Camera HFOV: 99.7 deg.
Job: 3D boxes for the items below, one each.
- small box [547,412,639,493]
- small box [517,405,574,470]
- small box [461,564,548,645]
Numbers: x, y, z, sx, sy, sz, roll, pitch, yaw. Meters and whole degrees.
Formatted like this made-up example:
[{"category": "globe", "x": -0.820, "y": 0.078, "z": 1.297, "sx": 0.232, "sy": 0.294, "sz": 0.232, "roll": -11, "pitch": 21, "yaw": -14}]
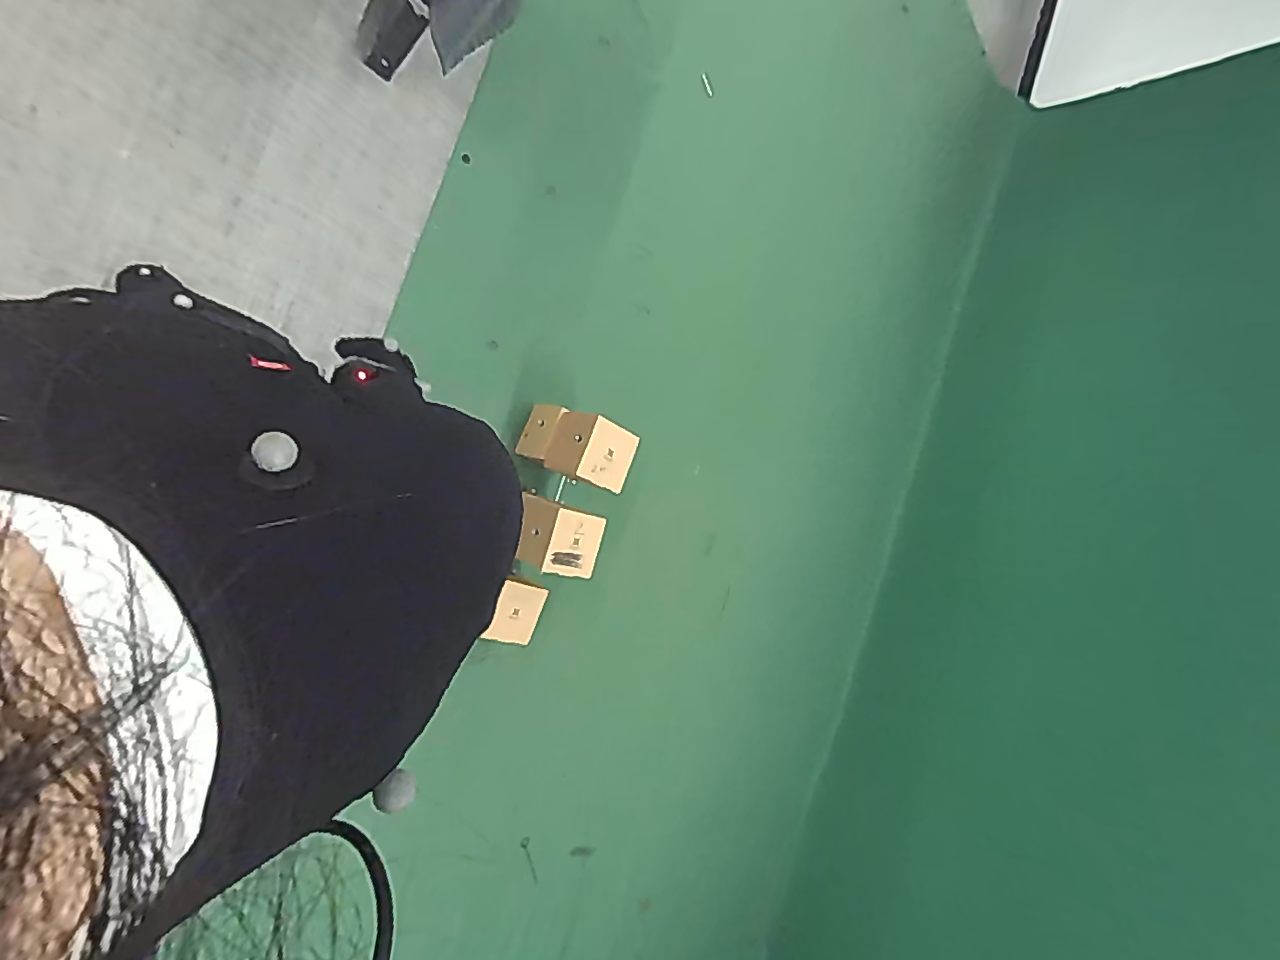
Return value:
[{"category": "small box", "x": -0.138, "y": -0.082, "z": 1.536, "sx": 0.168, "sy": 0.176, "sz": 0.179, "roll": 27, "pitch": 81, "yaw": -41}, {"category": "small box", "x": -0.248, "y": -0.119, "z": 1.654, "sx": 0.179, "sy": 0.176, "sz": 0.168, "roll": 28, "pitch": 80, "yaw": -41}, {"category": "small box", "x": -0.411, "y": 0.370, "z": 1.617, "sx": 0.168, "sy": 0.176, "sz": 0.179, "roll": 27, "pitch": 81, "yaw": -41}]
